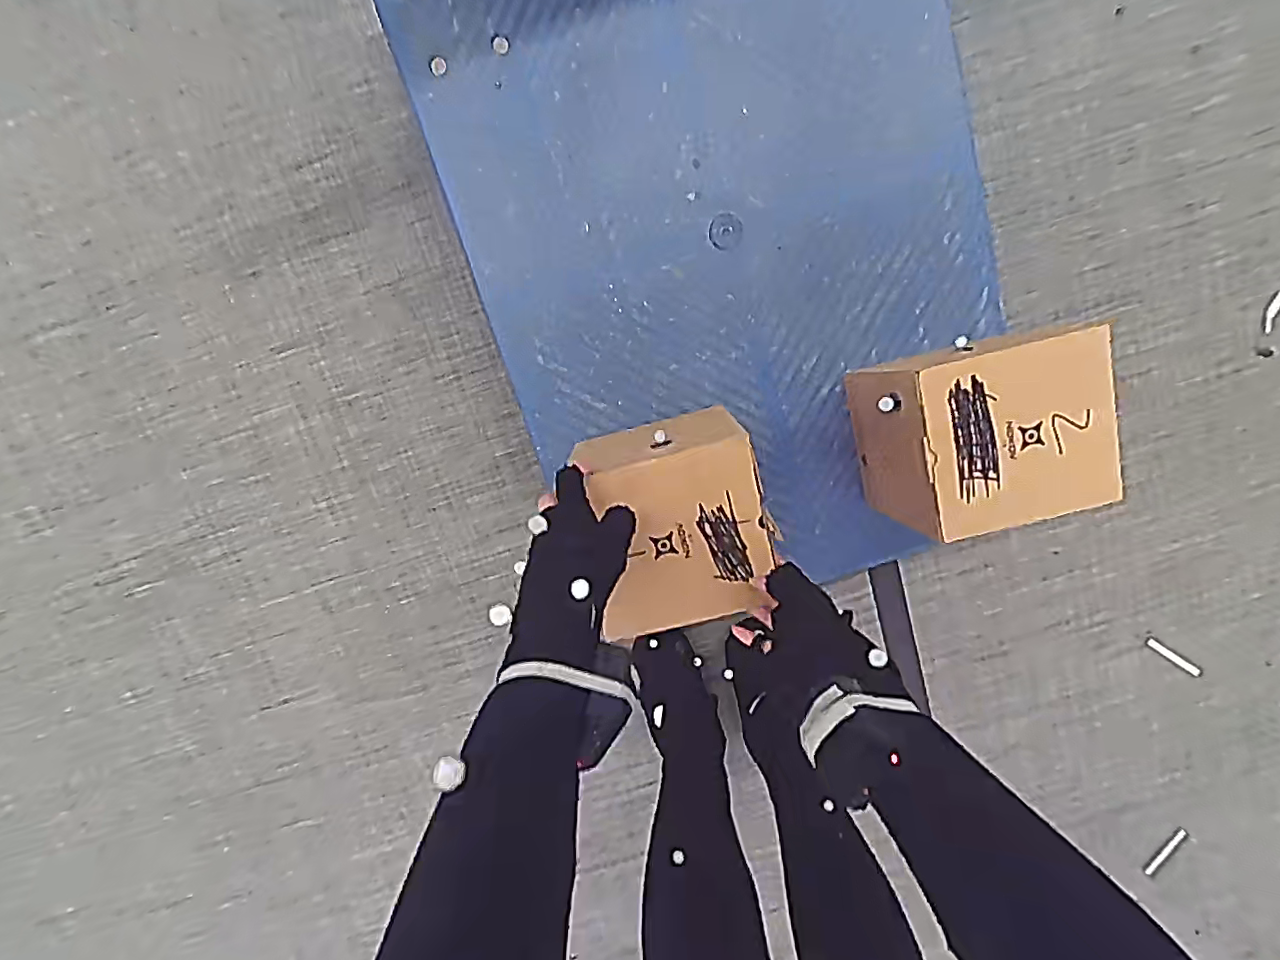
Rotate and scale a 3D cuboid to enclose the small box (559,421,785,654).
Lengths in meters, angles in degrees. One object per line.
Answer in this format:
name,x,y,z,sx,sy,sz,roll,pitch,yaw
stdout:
small box,0.032,0.047,0.562,0.179,0.176,0.168,-15,106,6
